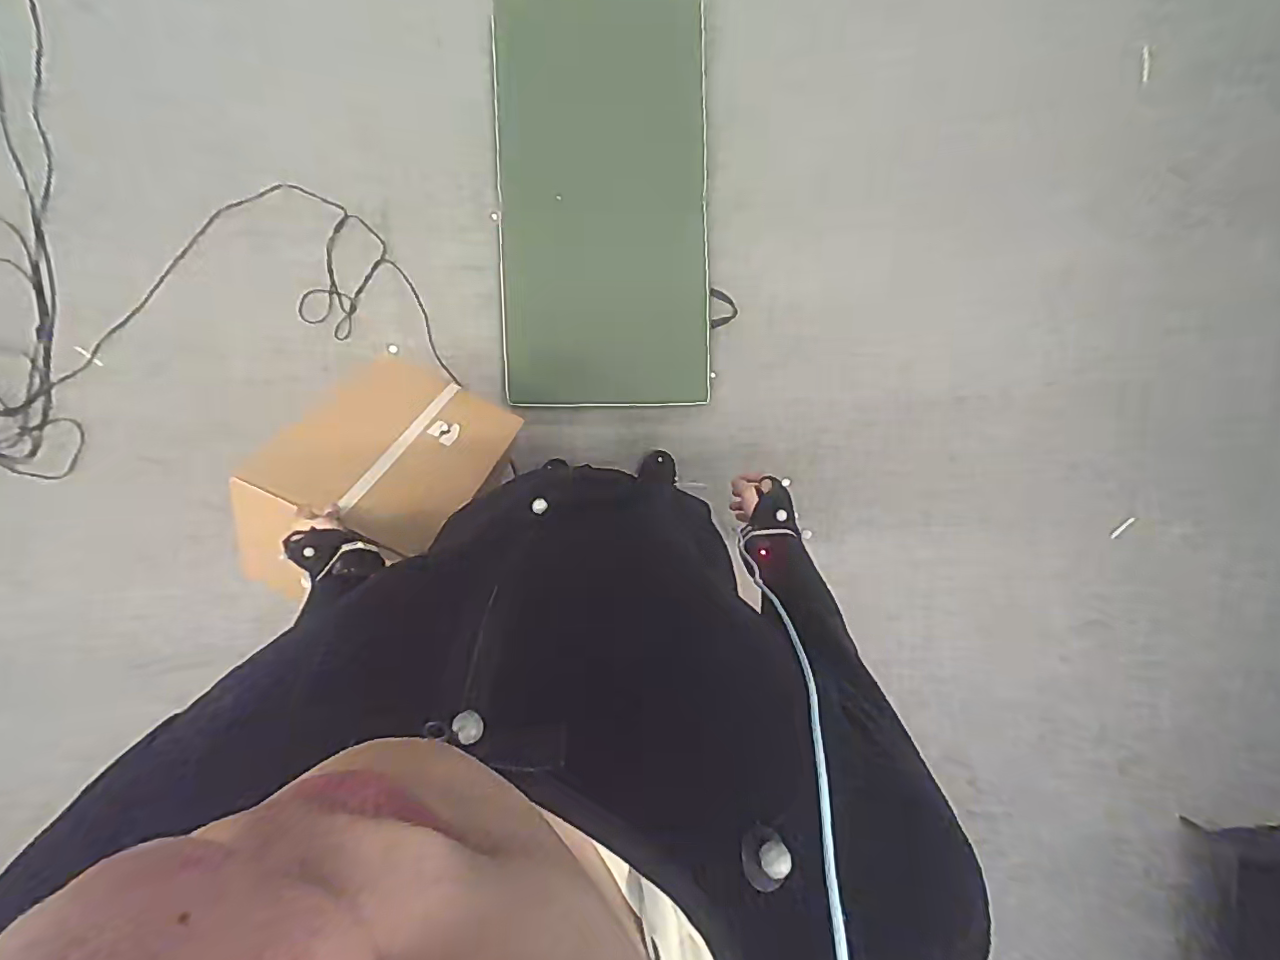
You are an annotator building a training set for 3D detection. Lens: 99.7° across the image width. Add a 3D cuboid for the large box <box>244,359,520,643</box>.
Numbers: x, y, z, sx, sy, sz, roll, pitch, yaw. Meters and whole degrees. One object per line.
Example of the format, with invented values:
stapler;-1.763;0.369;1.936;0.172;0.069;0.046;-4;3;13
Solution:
large box;-0.487;0.038;1.076;0.320;0.408;0.320;28;131;-7
